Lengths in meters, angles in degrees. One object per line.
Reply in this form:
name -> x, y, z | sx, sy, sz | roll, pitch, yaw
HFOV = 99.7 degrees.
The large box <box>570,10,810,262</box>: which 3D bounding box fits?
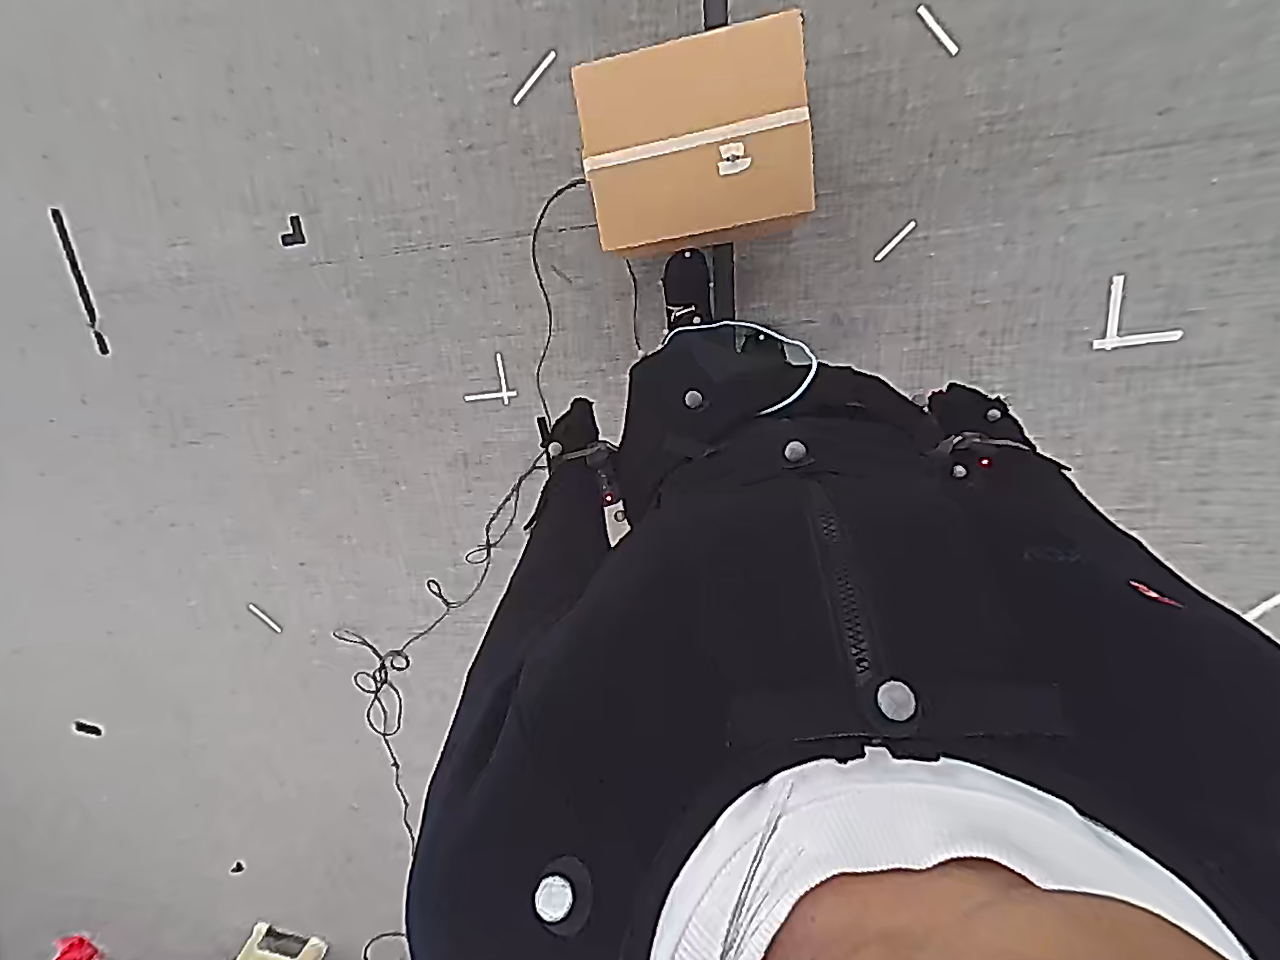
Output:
large box -> 0.109, -0.658, 1.114 | 0.408, 0.320, 0.320 | -7, 108, 10
